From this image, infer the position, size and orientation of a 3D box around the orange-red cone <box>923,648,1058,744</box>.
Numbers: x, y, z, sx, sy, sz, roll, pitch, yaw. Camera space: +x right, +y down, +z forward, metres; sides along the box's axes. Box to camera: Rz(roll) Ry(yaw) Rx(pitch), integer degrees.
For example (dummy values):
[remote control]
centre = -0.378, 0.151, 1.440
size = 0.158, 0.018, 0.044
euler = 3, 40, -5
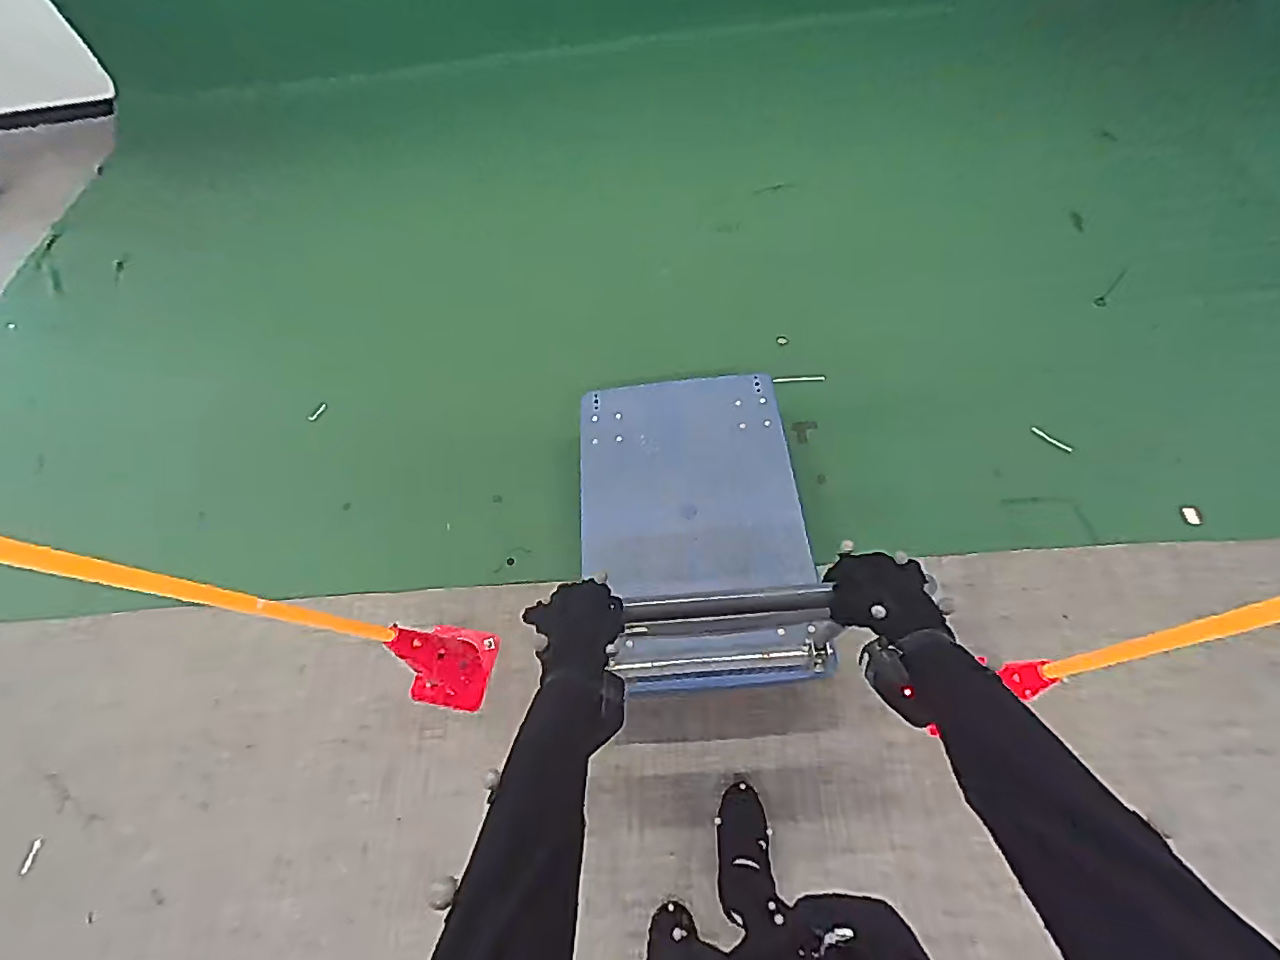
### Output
[orange-red cone]
centre = 0.768, 0.432, 1.144
size = 0.198, 0.360, 0.199
euler = 5, 63, 10
